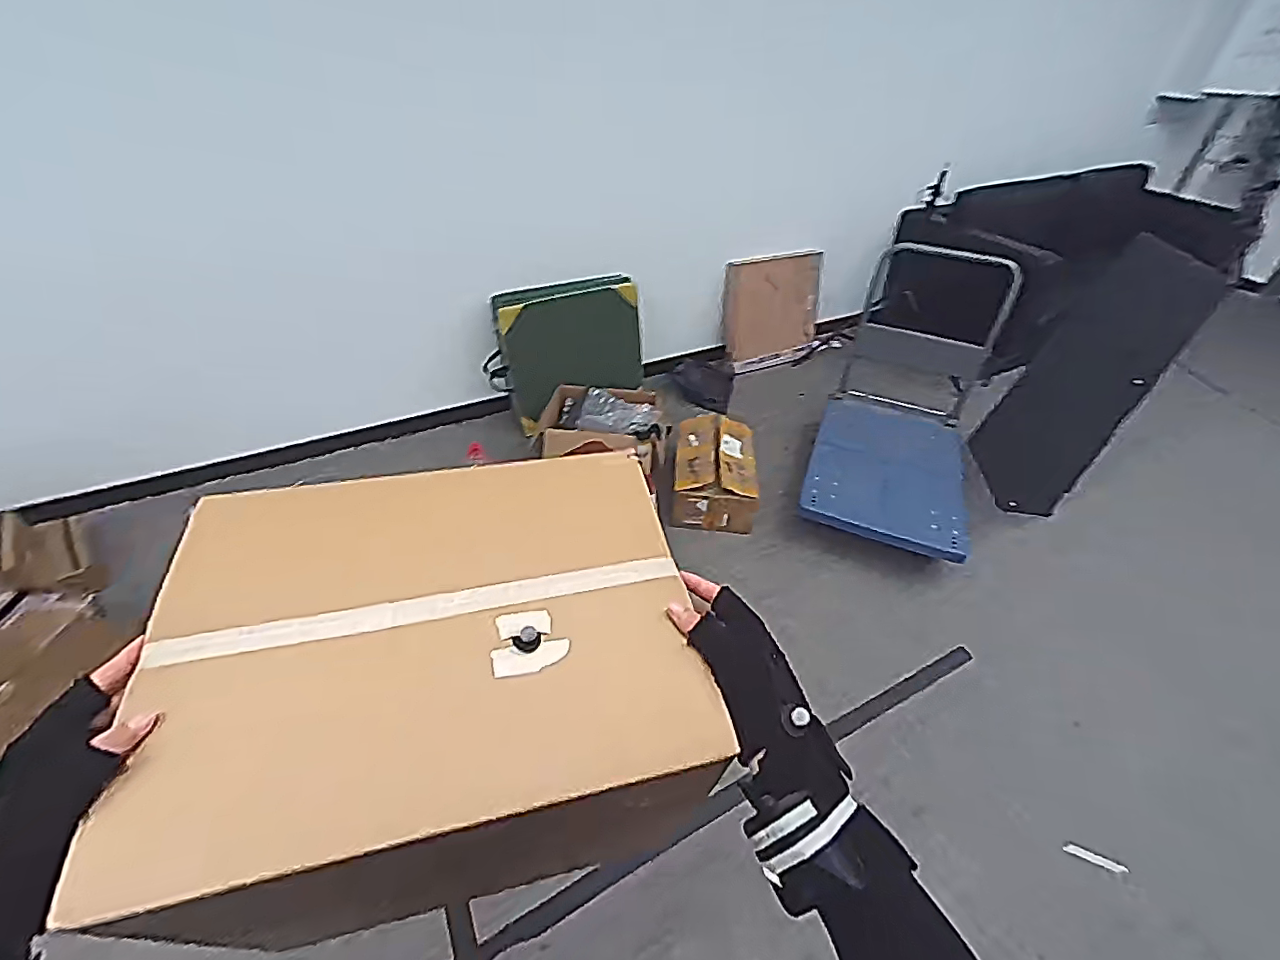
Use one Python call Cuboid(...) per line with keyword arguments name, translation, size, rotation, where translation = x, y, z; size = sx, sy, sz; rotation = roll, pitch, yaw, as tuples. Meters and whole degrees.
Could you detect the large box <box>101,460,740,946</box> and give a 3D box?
Cuboid(name="large box", translation=(-0.167, 0.211, 0.553), size=(0.408, 0.320, 0.320), rotation=(-6, 48, -14))
